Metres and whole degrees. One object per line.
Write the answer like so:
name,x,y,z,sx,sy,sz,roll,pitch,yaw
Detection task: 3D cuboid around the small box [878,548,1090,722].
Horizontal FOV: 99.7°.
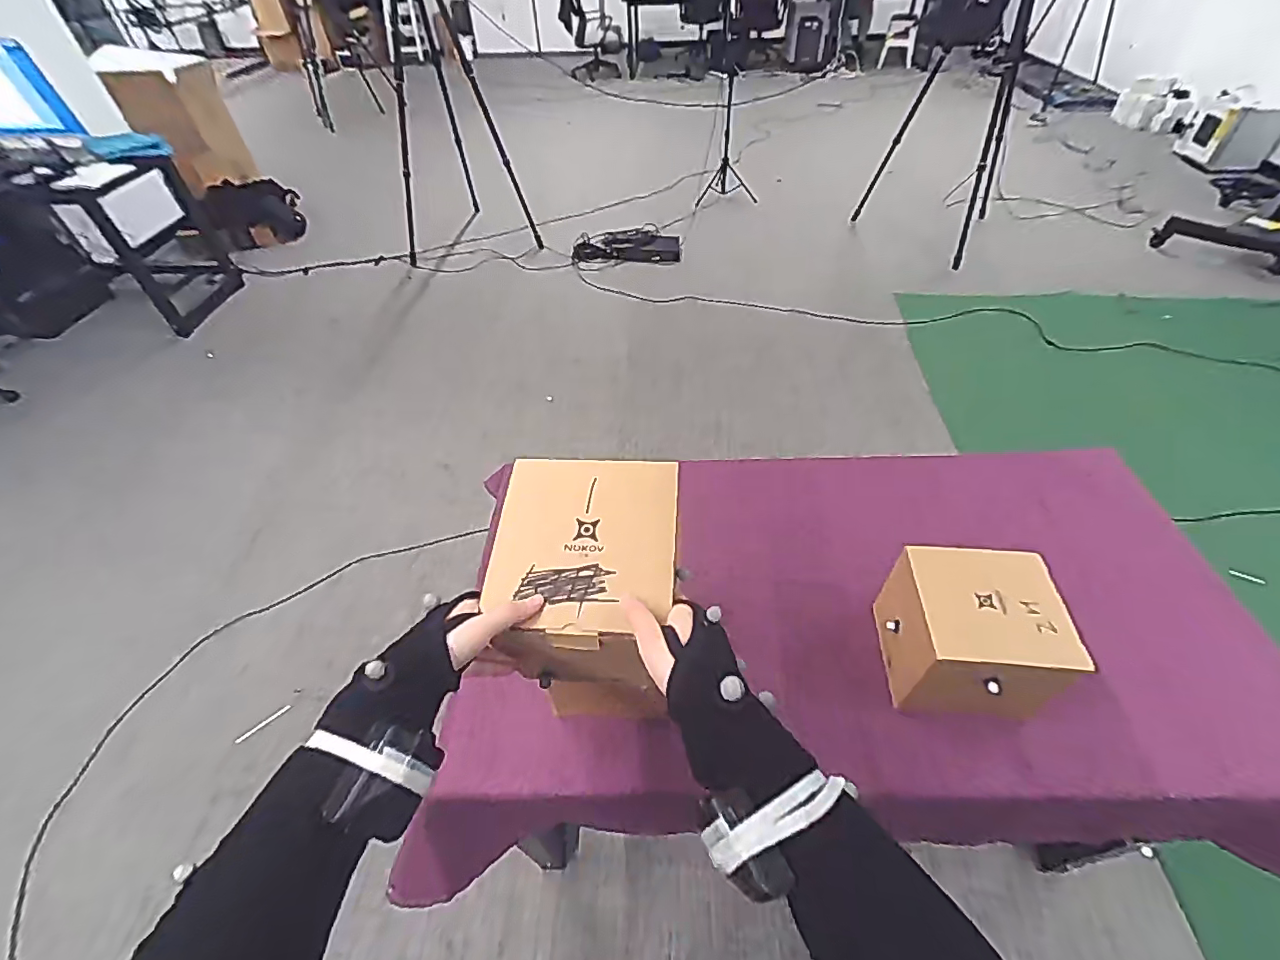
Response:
small box,0.438,0.210,0.731,0.179,0.176,0.168,3,47,6

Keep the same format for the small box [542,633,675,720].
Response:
small box,-0.039,0.222,0.755,0.179,0.176,0.168,0,46,3

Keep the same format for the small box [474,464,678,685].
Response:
small box,-0.048,0.102,0.560,0.168,0.176,0.179,1,55,6
